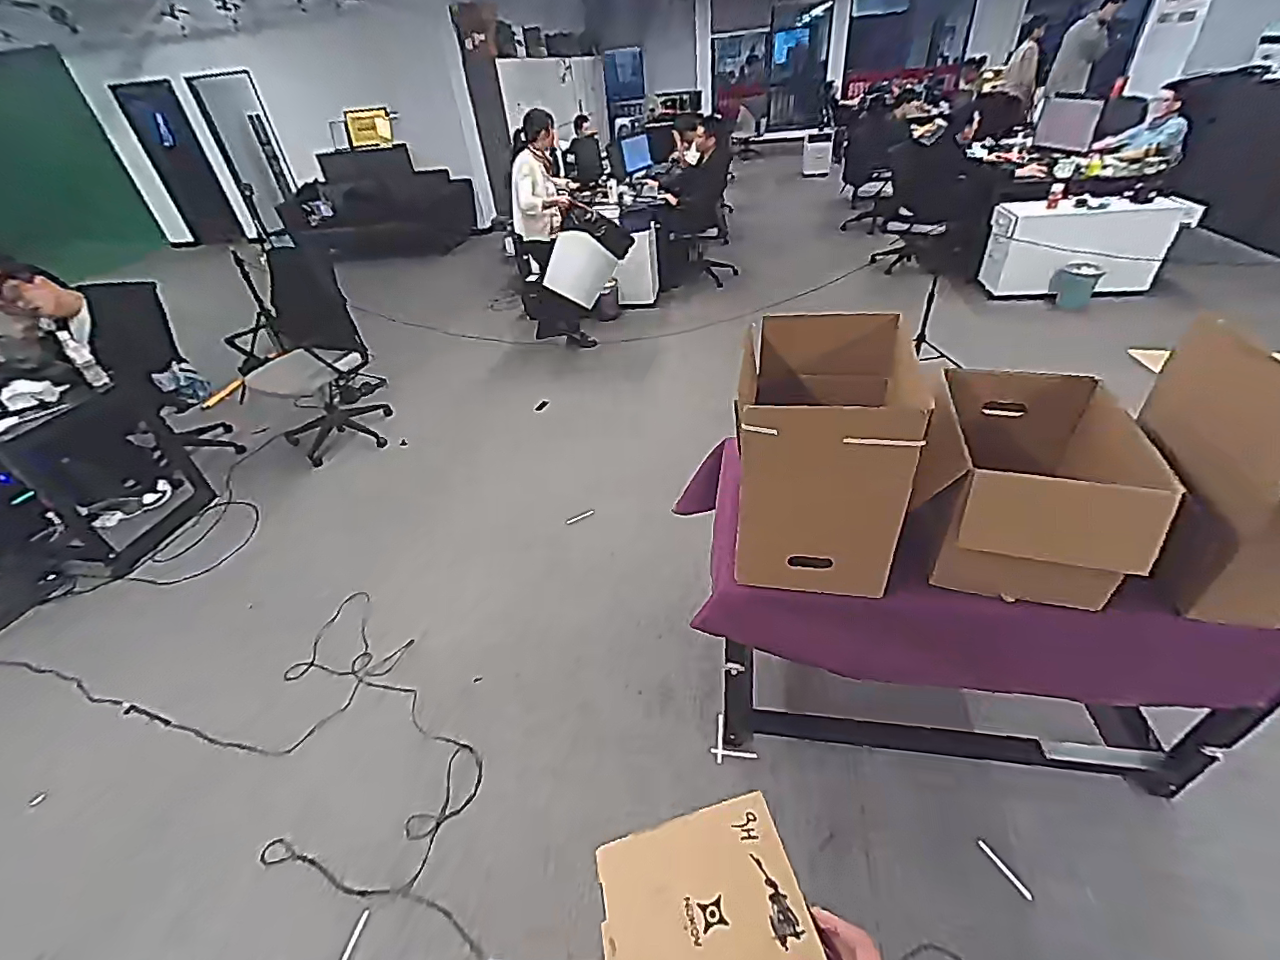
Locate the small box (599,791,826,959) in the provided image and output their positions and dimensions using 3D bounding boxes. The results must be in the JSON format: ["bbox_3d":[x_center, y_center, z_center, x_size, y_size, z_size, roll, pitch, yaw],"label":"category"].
[{"bbox_3d":[0.074,0.440,0.511,0.179,0.176,0.168,-17,33,-1],"label":"small box"}]
